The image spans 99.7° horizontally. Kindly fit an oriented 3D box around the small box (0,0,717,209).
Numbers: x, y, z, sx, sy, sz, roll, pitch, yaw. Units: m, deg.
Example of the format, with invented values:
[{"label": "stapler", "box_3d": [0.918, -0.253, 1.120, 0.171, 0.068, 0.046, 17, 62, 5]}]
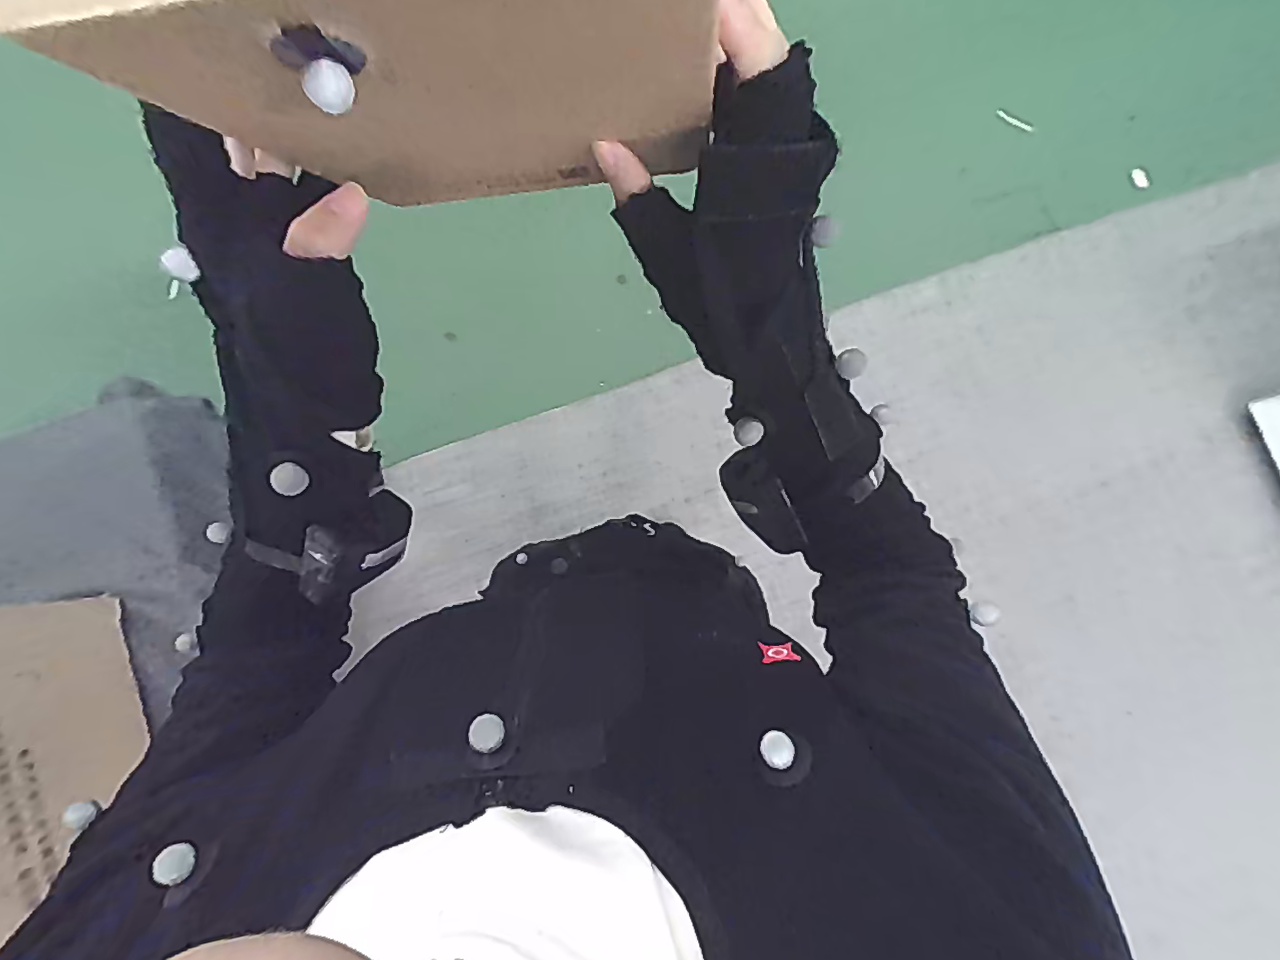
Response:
[{"label": "small box", "box_3d": [-0.063, -0.208, 0.173, 0.168, 0.176, 0.179, -3, 104, 8]}]
